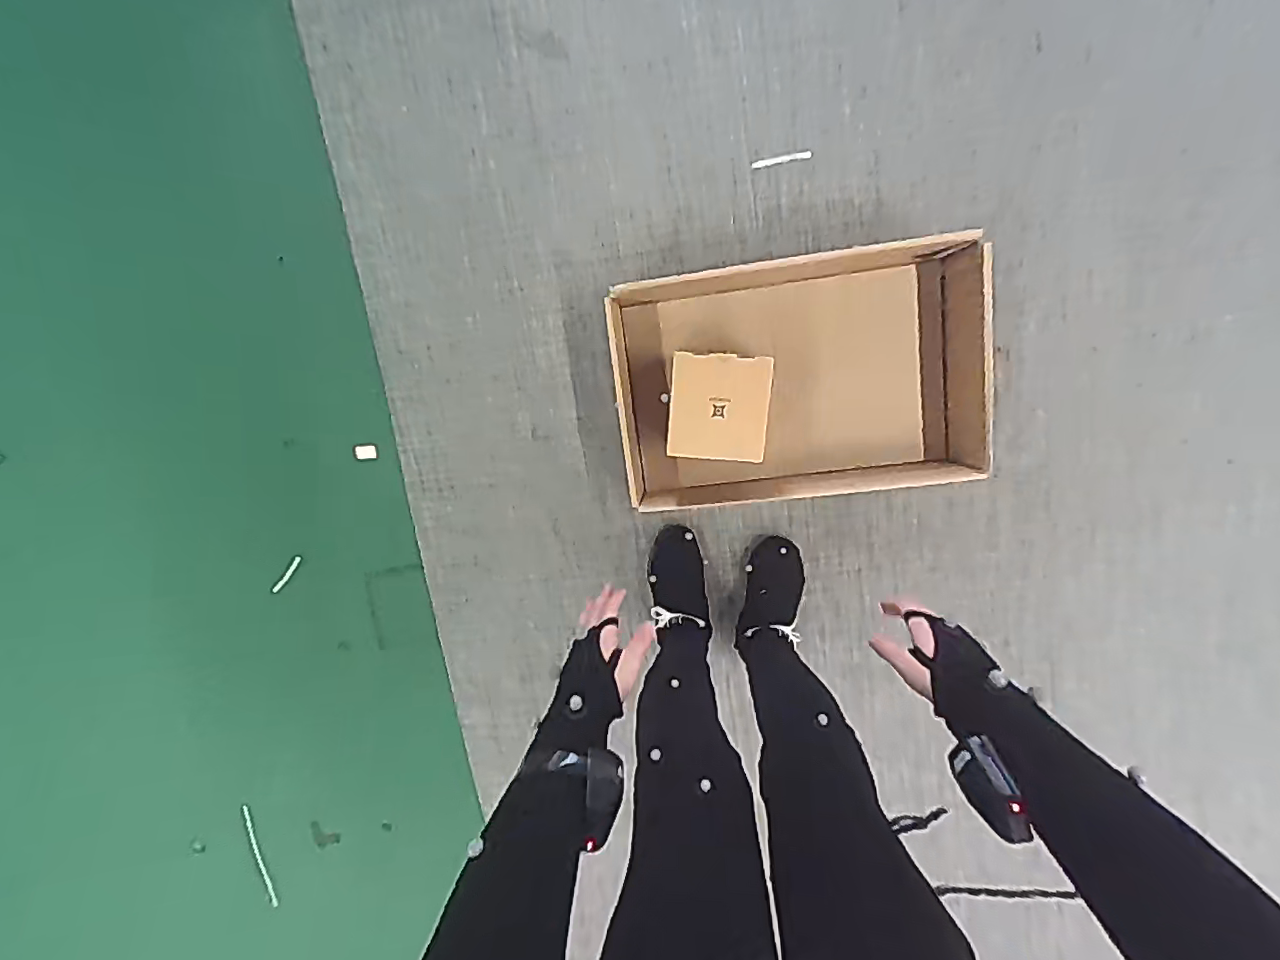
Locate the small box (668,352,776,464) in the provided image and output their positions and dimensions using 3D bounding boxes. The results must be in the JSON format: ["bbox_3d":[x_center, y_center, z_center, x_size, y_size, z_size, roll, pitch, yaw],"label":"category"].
[{"bbox_3d":[0.143,-0.133,0.973,0.168,0.176,0.179,4,100,5],"label":"small box"}]
